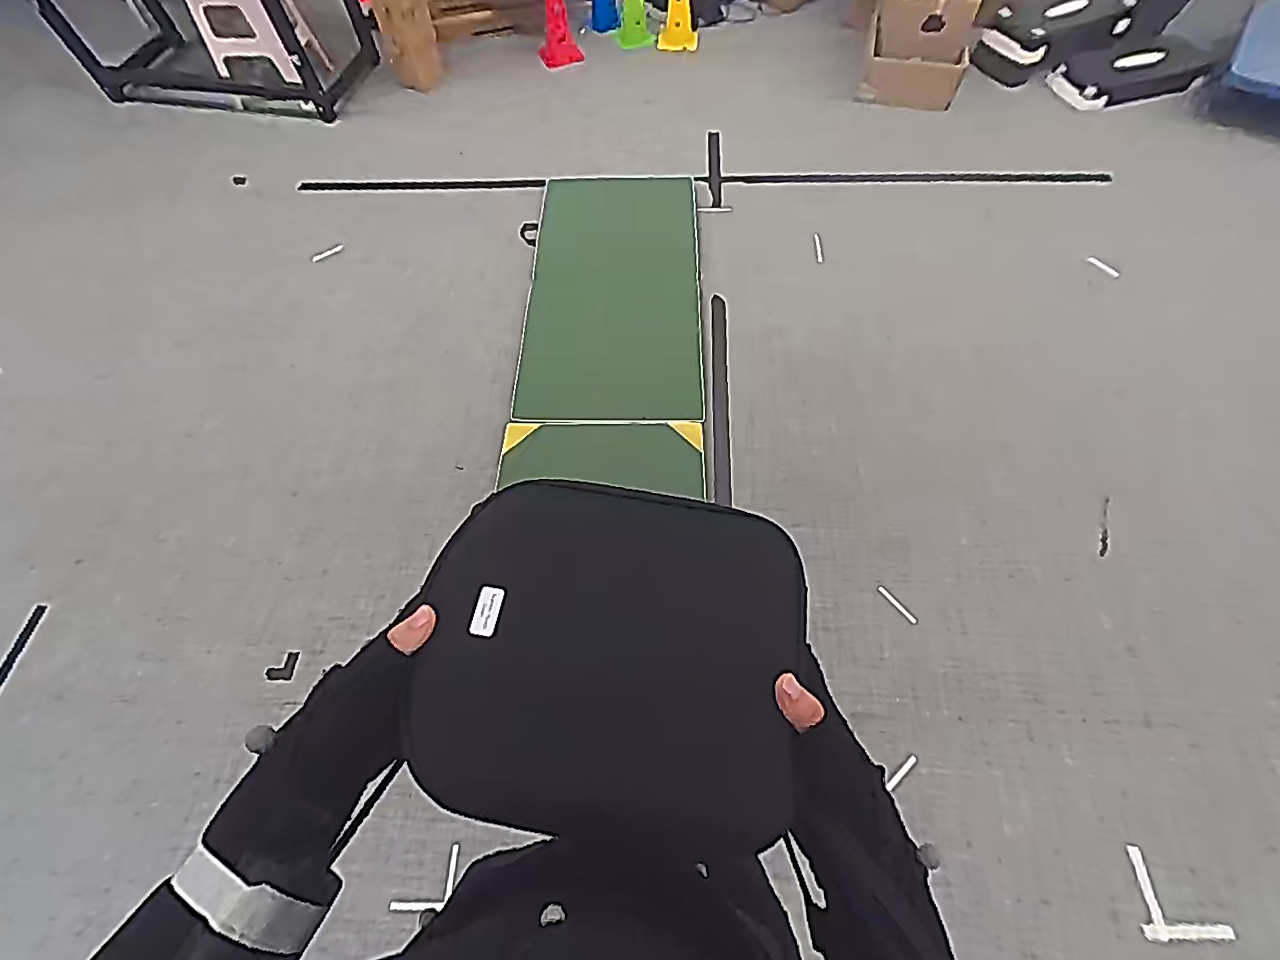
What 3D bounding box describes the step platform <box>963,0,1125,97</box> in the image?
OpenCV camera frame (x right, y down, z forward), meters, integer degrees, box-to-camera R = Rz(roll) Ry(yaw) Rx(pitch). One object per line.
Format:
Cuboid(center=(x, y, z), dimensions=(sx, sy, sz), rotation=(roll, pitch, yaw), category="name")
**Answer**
Cuboid(center=(1.910, -2.063, 2.561), dimensions=(0.684, 0.204, 0.286), rotation=(-25, 64, -11), category="step platform")
